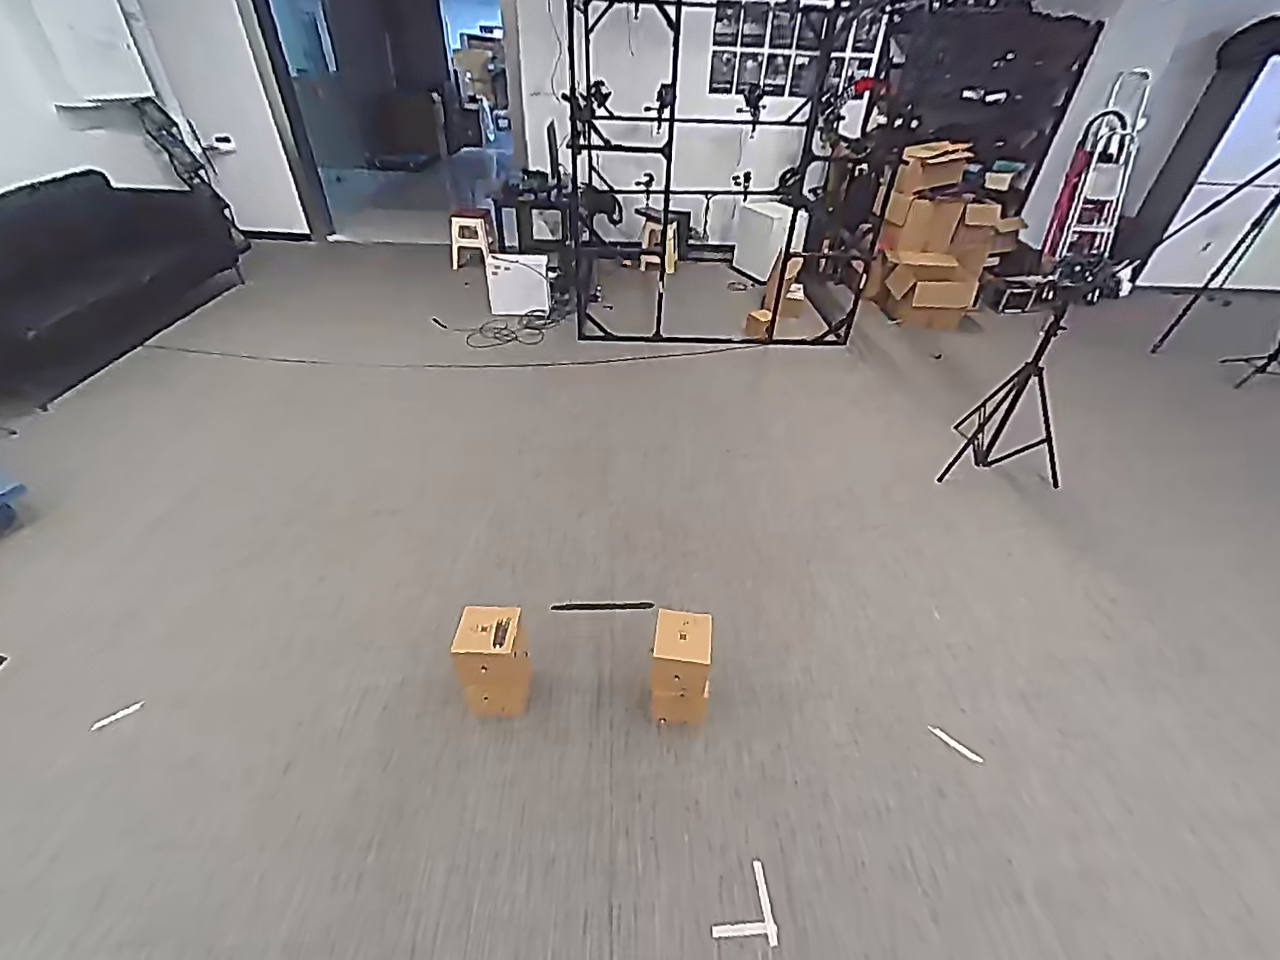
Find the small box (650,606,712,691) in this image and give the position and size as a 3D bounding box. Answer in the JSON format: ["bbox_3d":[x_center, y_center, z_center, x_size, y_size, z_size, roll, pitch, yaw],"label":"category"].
[{"bbox_3d":[0.124,0.513,1.637,0.168,0.176,0.179,7,38,4],"label":"small box"}]

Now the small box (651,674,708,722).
[{"bbox_3d":[0.124,0.650,1.730,0.168,0.176,0.179,3,38,0],"label":"small box"}]

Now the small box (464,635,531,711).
[{"bbox_3d":[-0.449,0.622,1.734,0.168,0.176,0.179,1,38,-1],"label":"small box"}]
